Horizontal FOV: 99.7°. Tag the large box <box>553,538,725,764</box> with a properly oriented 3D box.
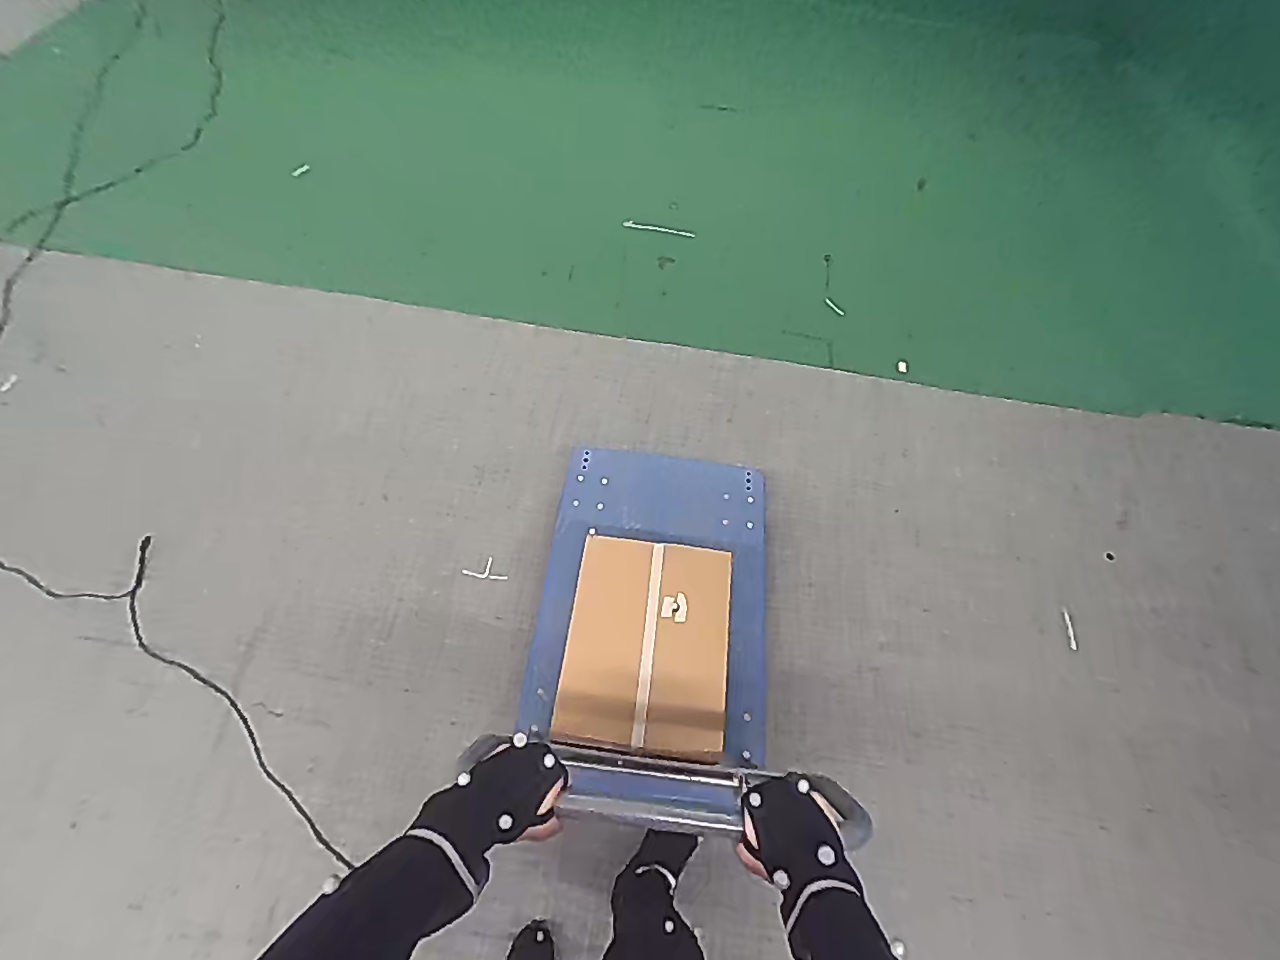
[{"bbox_3d":[0.007,0.388,1.202,0.320,0.320,0.408,7,60,1],"label":"large box"}]
